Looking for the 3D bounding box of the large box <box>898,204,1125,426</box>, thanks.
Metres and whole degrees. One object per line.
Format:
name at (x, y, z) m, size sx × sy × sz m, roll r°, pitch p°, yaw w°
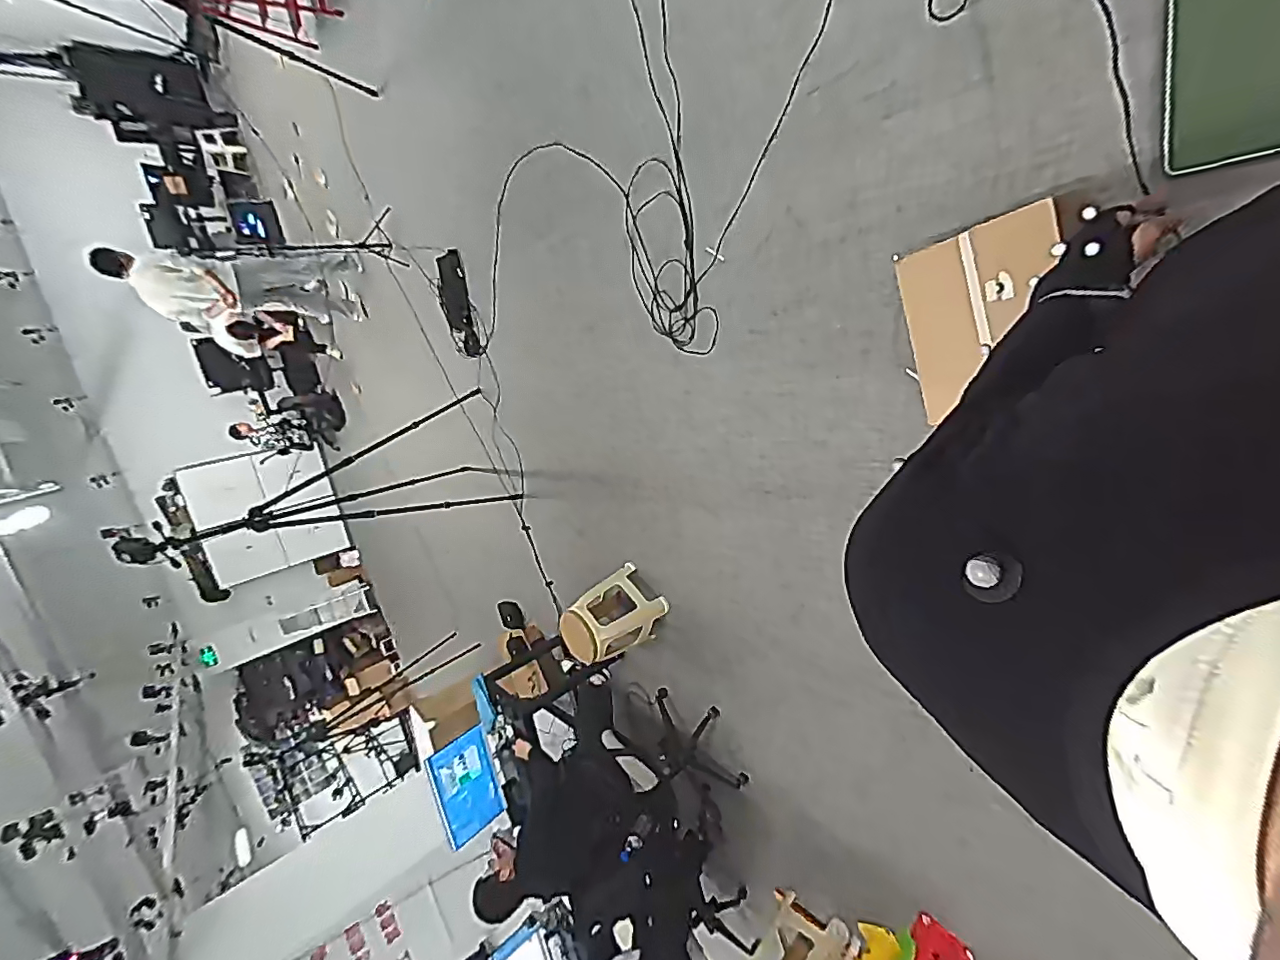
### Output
large box at (0.870, -0.373, 1.269) m, size 0.320 × 0.320 × 0.408 m, roll -8°, pitch 99°, yaw 53°
